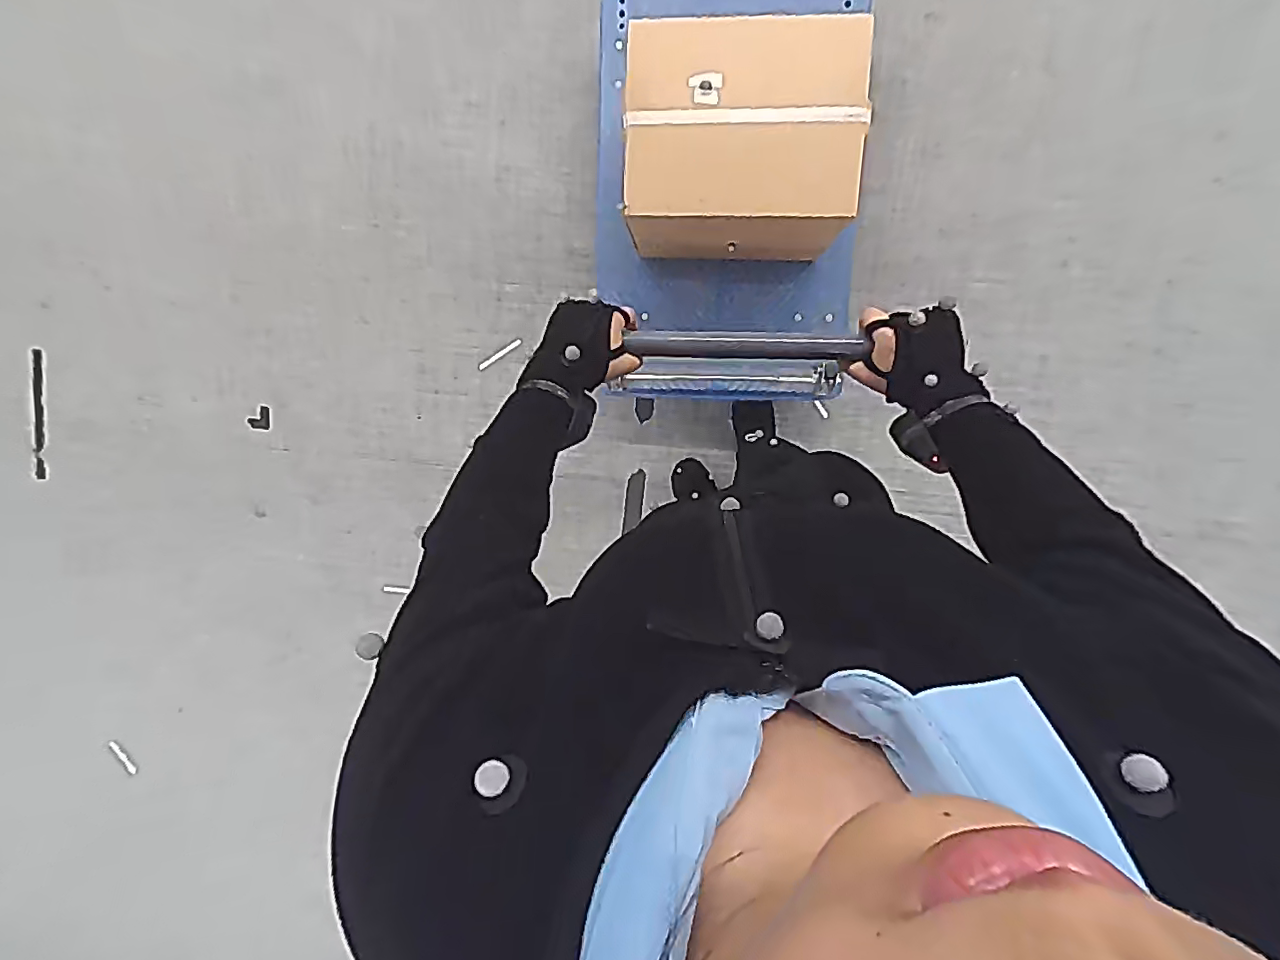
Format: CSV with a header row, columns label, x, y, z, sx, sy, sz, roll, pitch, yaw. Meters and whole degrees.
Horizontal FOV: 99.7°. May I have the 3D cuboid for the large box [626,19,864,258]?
label,x,y,z,sx,sy,sz,roll,pitch,yaw
large box,0.193,-0.642,1.085,0.408,0.320,0.320,3,98,6
